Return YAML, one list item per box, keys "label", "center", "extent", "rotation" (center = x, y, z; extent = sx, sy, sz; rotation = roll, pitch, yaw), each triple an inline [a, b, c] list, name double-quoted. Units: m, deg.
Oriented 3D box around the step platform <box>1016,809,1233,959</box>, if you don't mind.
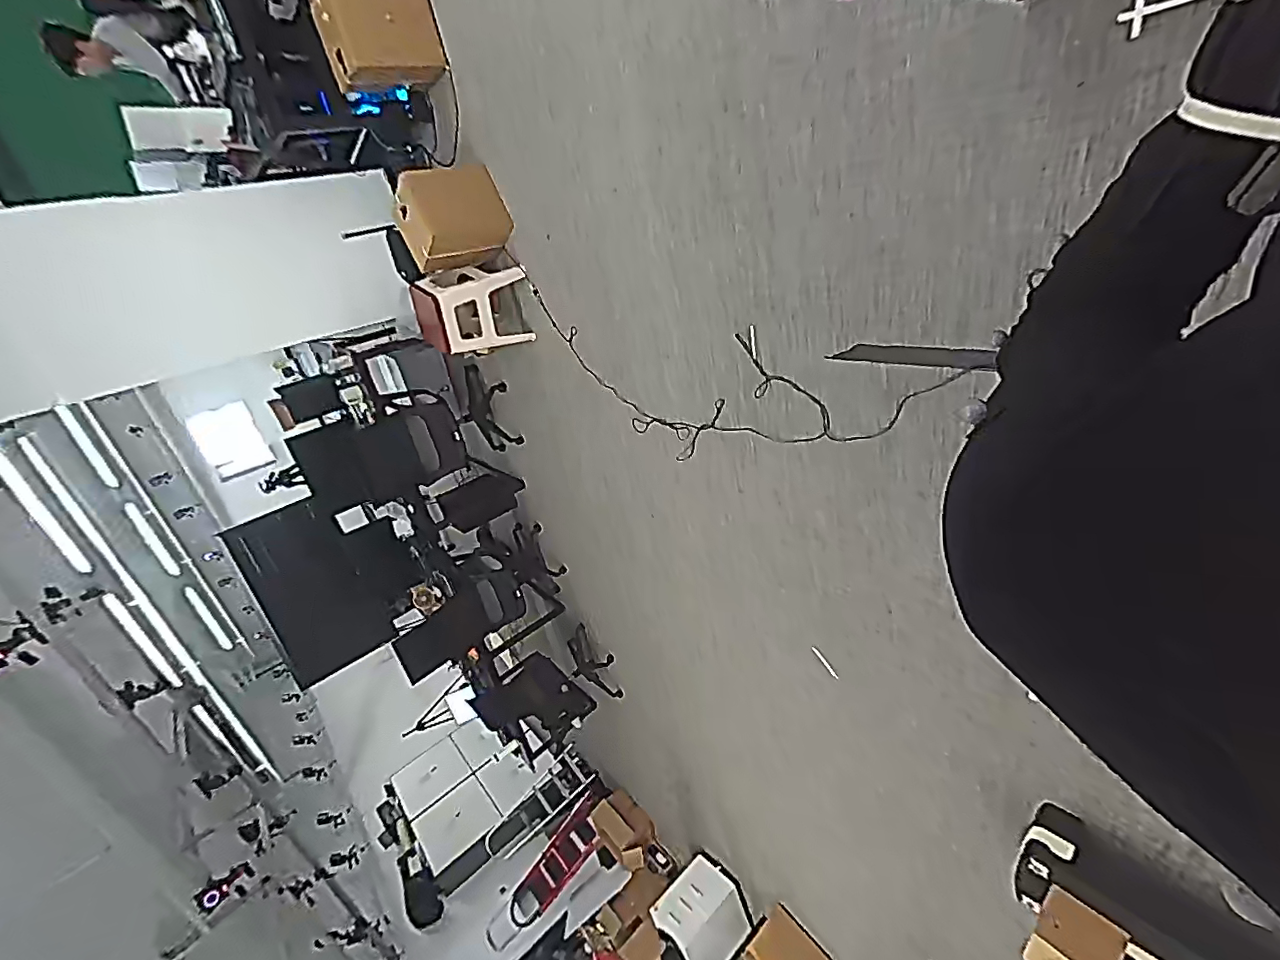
- label: "step platform"
  center: [1.433, 1.254, 1.465]
  extent: [0.684, 0.204, 0.286]
  rotation: [19, 130, 47]
